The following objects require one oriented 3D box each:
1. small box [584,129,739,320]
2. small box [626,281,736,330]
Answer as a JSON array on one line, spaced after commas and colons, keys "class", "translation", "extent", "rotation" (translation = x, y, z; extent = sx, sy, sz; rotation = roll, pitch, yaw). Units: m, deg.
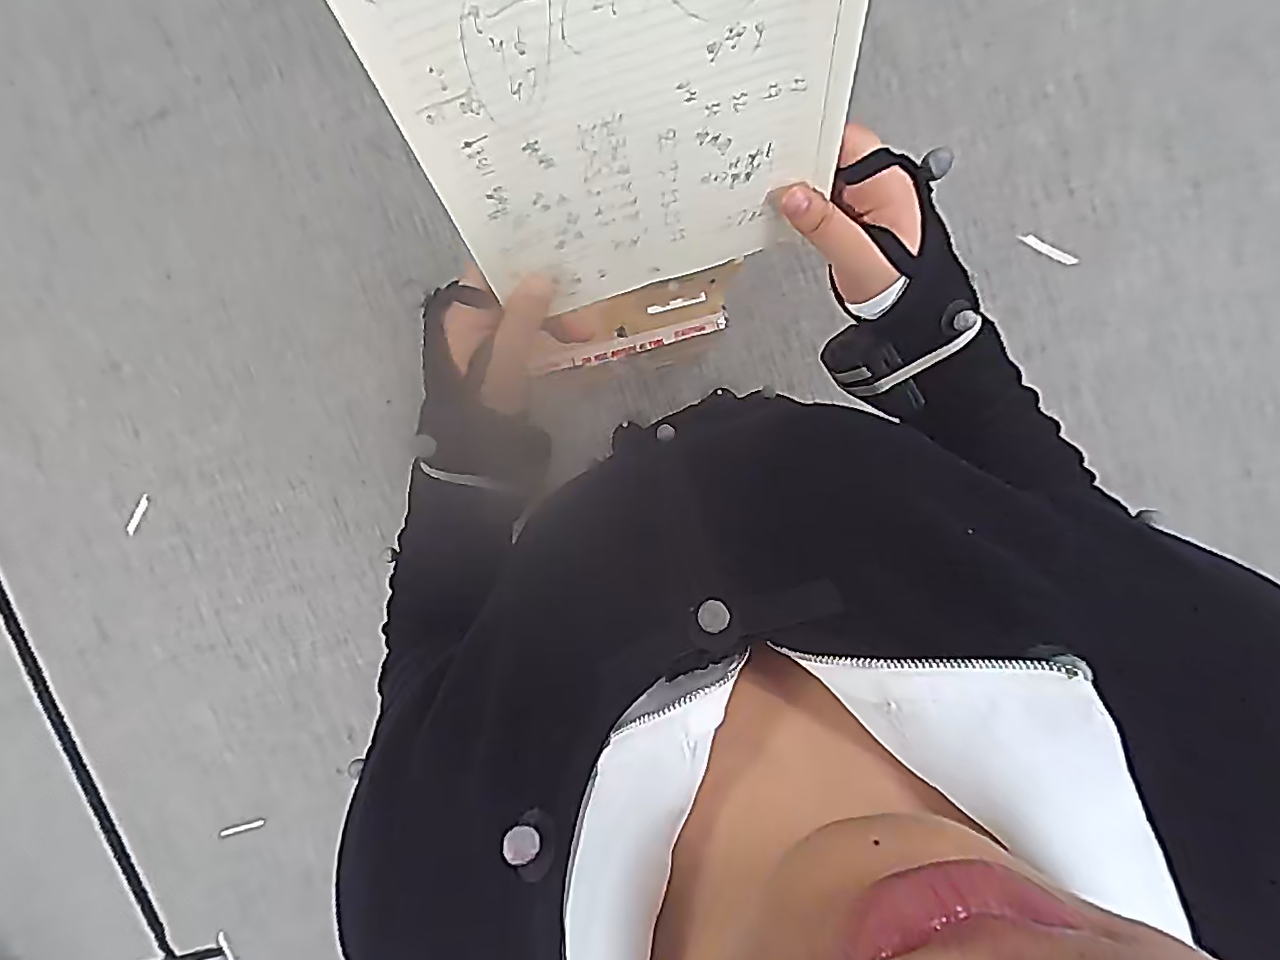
[{"class": "small box", "translation": [0.025, -0.330, 0.732], "extent": [0.168, 0.176, 0.179], "rotation": [-11, 98, 1]}, {"class": "small box", "translation": [0.043, -0.359, 0.895], "extent": [0.179, 0.176, 0.168], "rotation": [-15, 97, 3]}]
